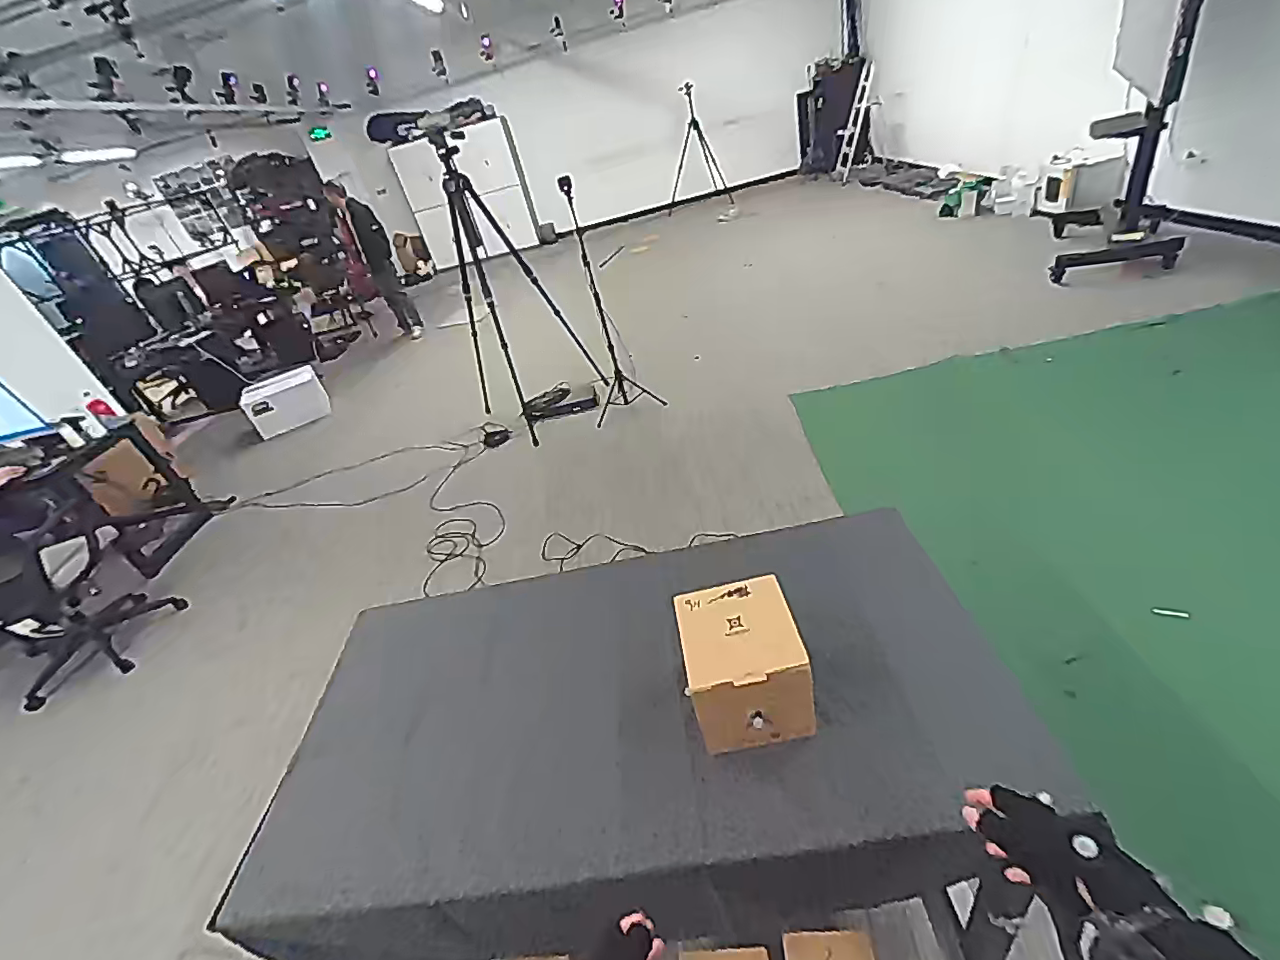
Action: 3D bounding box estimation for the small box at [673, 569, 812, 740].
[{"bbox_3d":[0.154,0.269,0.821,0.168,0.176,0.179,-13,35,4],"label":"small box"}]

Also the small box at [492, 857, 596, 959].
[{"bbox_3d":[-0.207,0.993,1.228,0.168,0.176,0.179,-8,34,13],"label":"small box"}]
